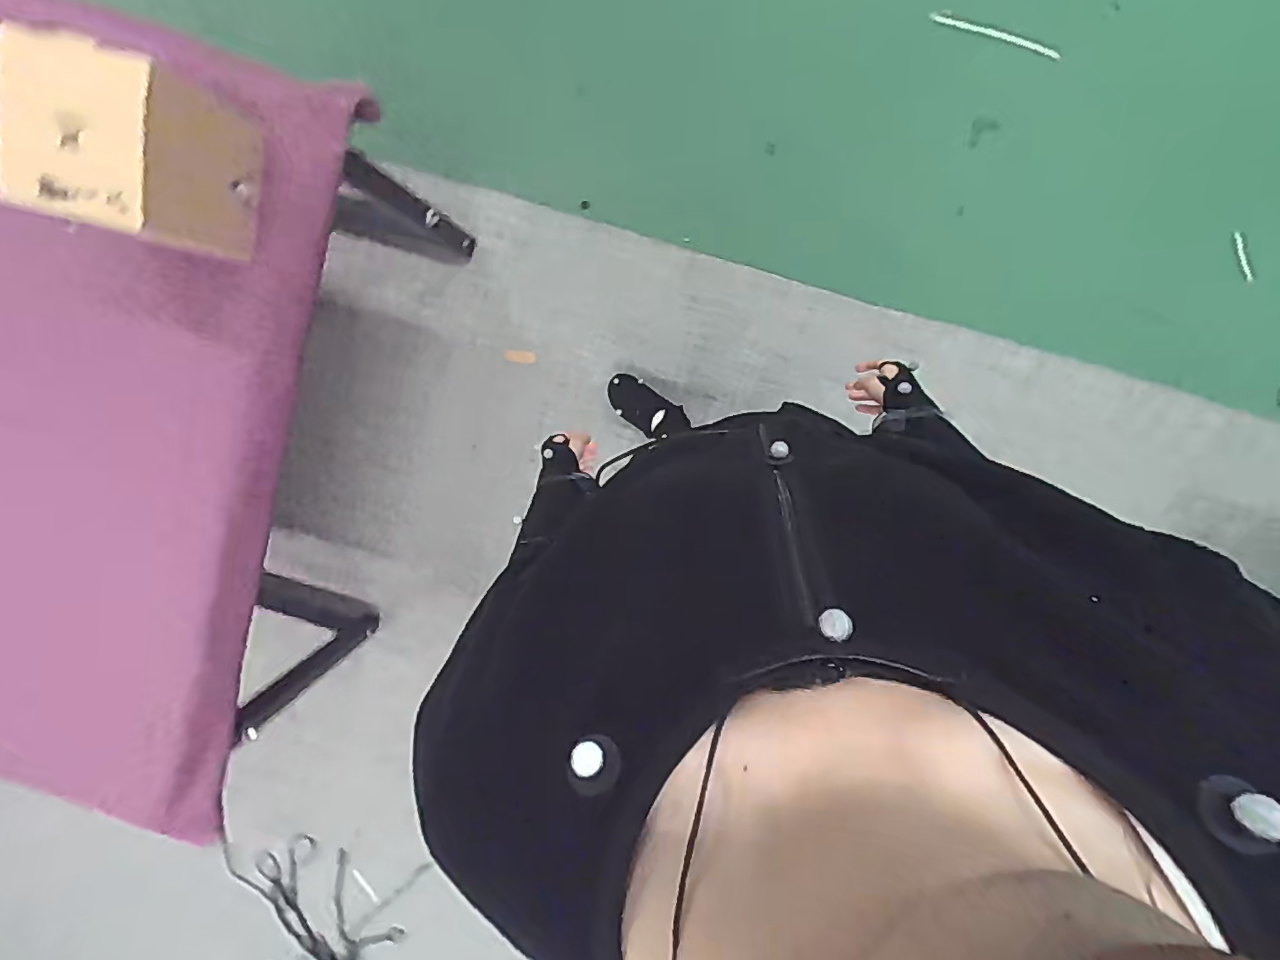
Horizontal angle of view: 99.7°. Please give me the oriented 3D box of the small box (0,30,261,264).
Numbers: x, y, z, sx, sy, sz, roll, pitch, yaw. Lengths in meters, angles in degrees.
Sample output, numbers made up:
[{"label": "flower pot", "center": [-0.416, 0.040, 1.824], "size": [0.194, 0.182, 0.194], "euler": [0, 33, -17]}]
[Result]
[{"label": "small box", "center": [-0.604, -0.386, 0.660], "size": [0.168, 0.176, 0.179], "euler": [13, 101, 1]}]
